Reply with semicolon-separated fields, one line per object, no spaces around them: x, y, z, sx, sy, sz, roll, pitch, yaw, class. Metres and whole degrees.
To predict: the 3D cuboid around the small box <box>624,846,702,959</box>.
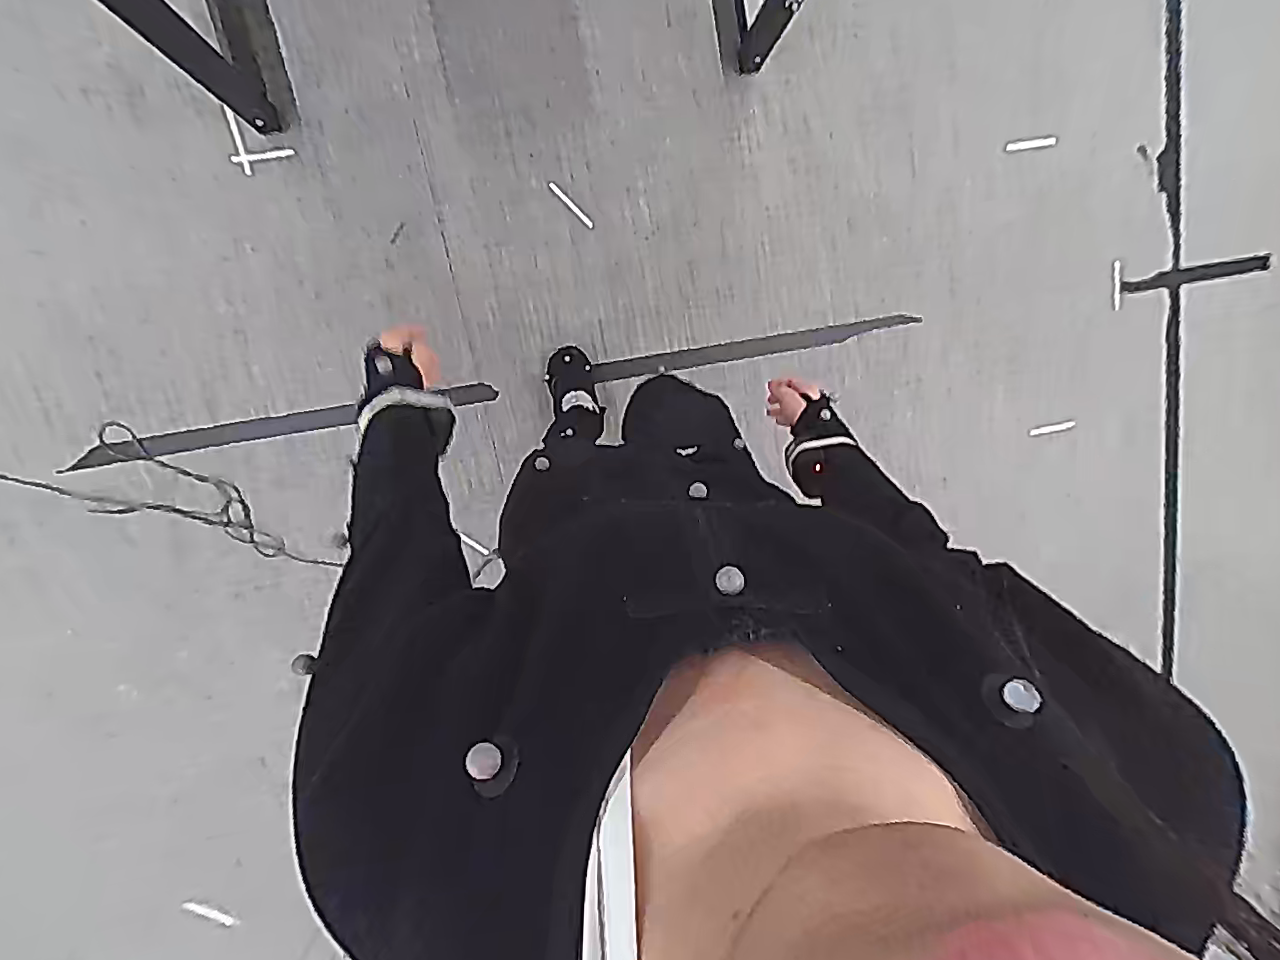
0.058;1.121;1.447;0.168;0.176;0.179;-10;102;-6;small box
